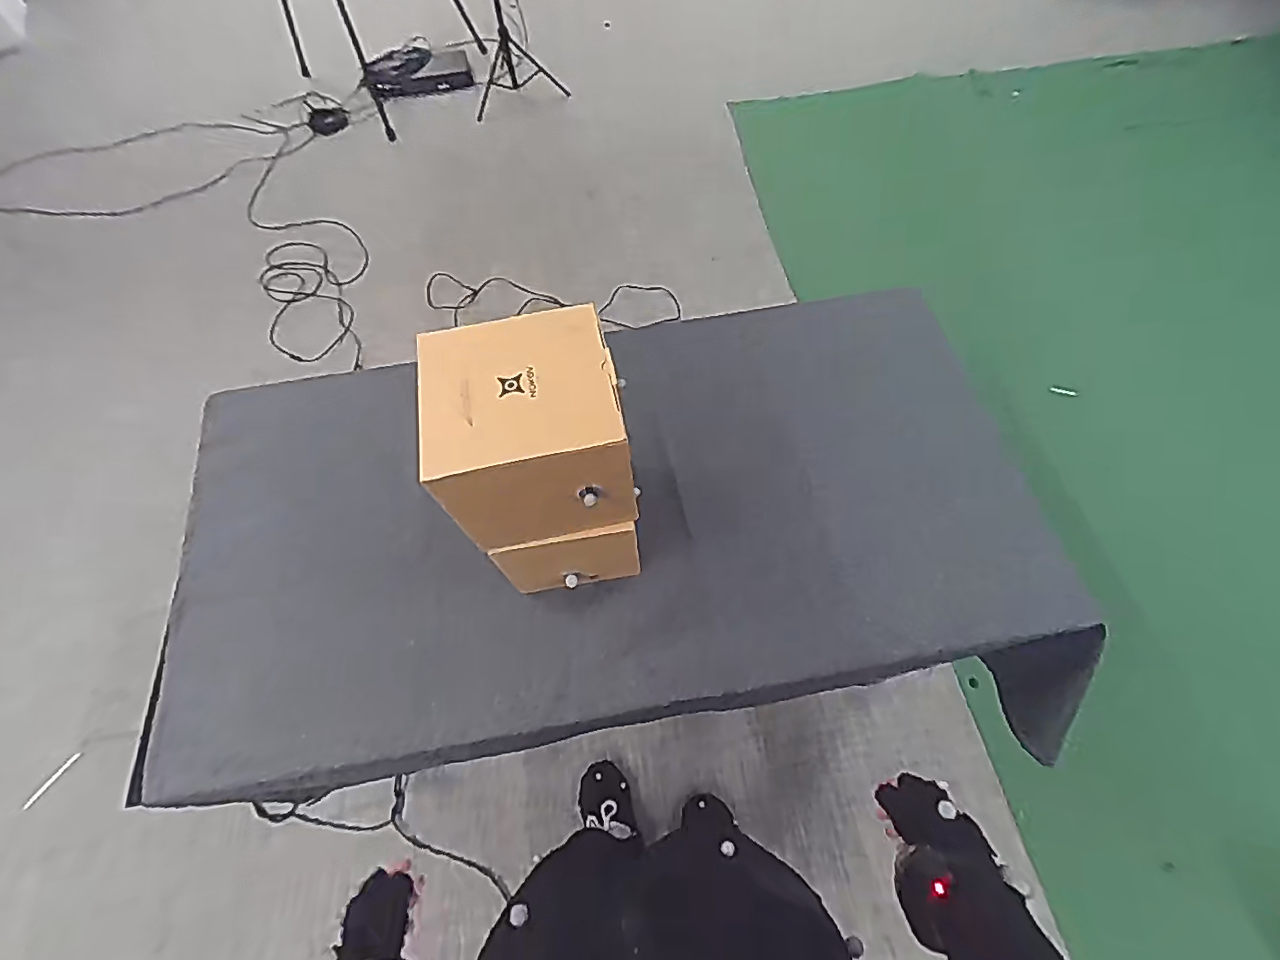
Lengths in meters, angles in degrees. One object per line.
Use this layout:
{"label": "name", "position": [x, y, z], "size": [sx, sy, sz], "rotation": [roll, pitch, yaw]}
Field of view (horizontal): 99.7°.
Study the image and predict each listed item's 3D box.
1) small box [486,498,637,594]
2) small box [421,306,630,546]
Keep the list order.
{"label": "small box", "position": [-0.097, 0.031, 0.701], "size": [0.168, 0.176, 0.179], "rotation": [-9, 63, -2]}
{"label": "small box", "position": [-0.108, -0.048, 0.558], "size": [0.179, 0.176, 0.168], "rotation": [-11, 61, -3]}
